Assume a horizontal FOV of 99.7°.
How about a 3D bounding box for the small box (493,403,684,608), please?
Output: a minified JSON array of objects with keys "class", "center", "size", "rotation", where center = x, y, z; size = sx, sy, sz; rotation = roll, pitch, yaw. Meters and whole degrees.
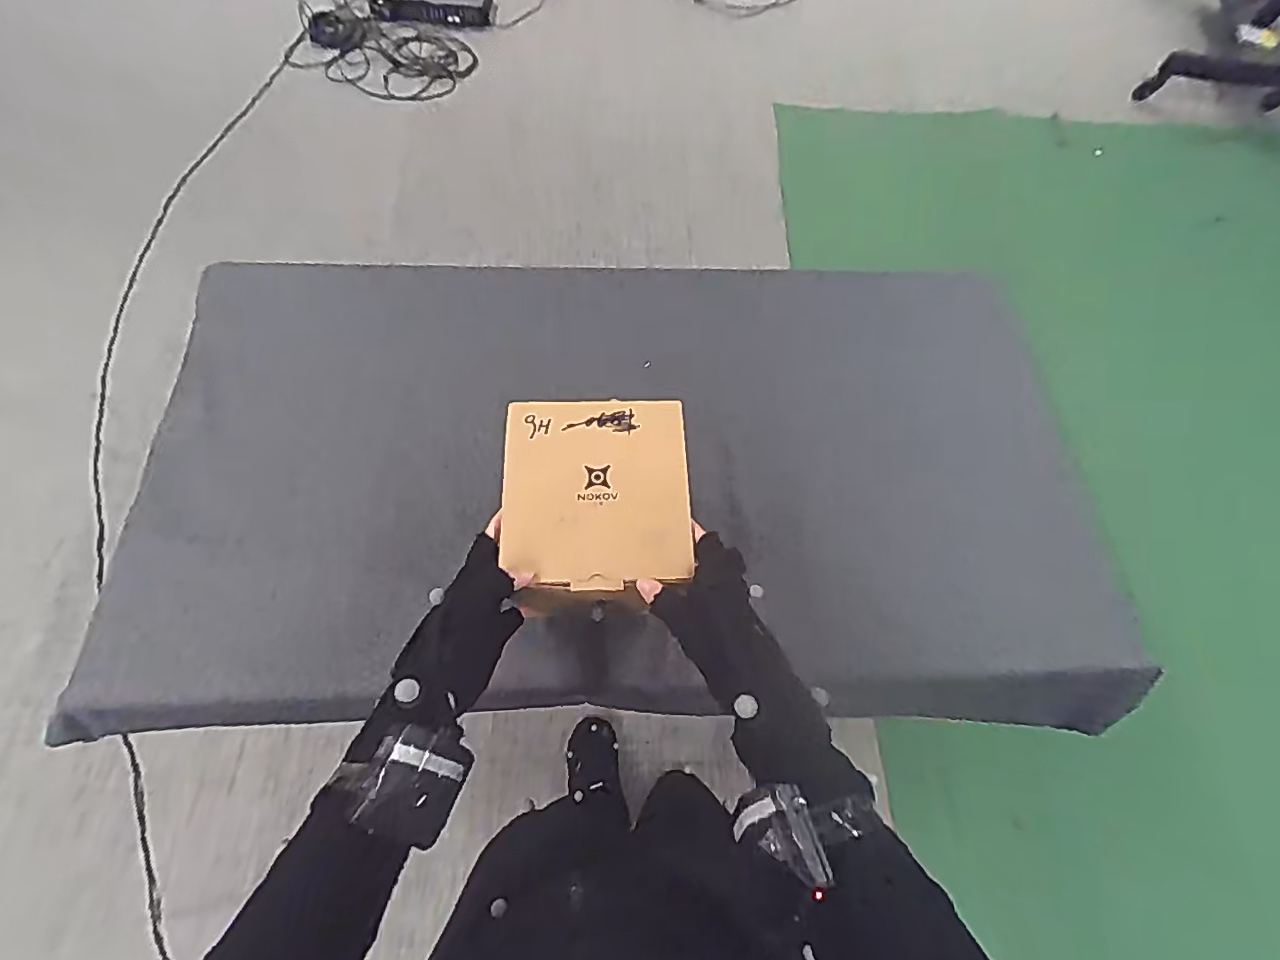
[{"class":"small box","center":[-0.046,0.036,0.558],"size":[0.168,0.176,0.179],"rotation":[-1,69,-3]}]
